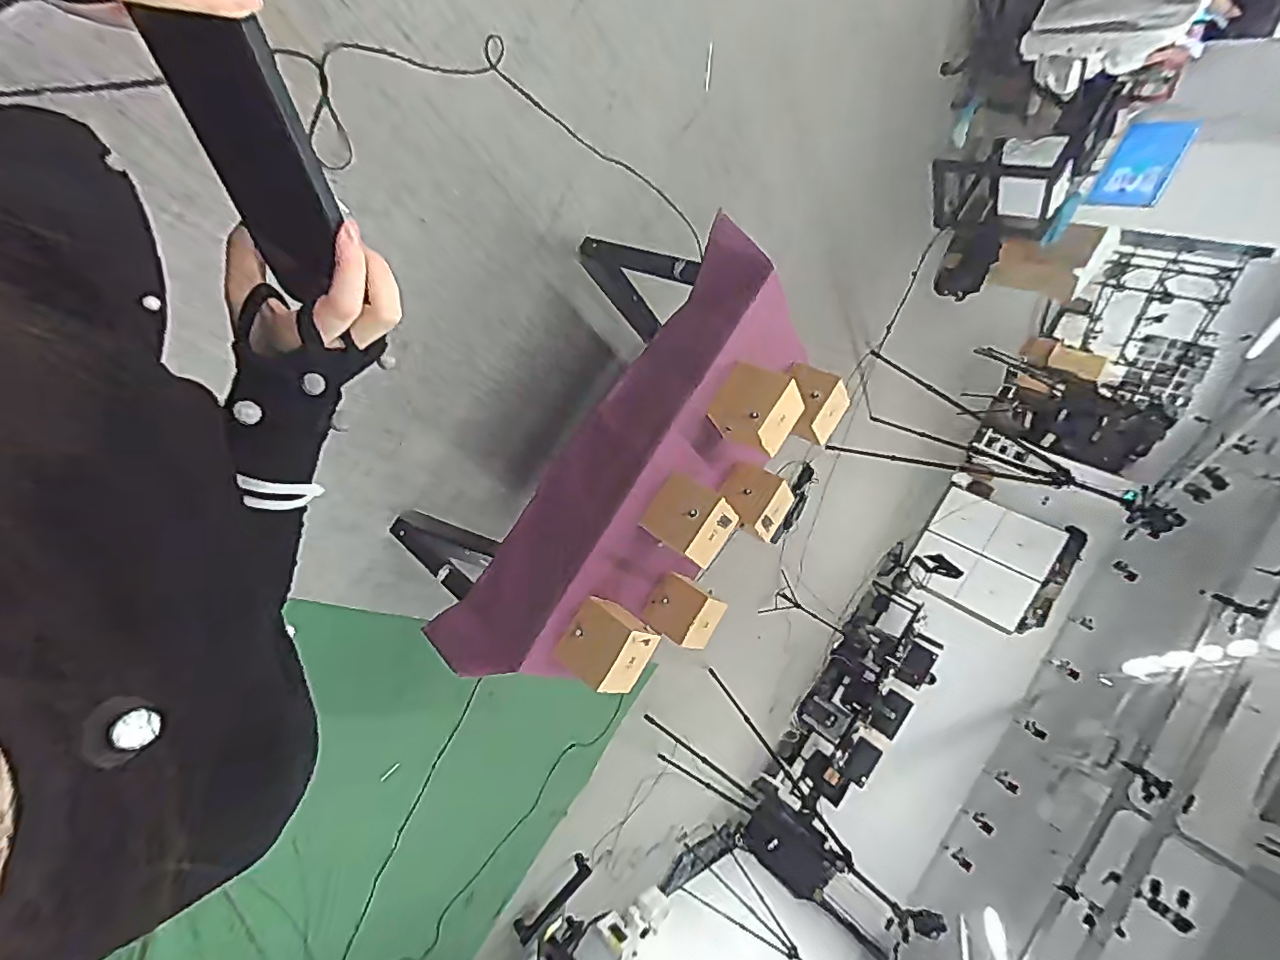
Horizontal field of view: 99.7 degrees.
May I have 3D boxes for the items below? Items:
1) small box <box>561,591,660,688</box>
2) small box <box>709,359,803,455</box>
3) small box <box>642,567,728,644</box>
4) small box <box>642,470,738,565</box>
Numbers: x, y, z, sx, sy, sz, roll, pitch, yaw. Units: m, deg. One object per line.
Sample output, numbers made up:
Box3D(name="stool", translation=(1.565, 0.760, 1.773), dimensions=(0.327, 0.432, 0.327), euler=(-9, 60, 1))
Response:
Box3D(name="small box", translation=(-0.084, 0.420, 1.425), dimensions=(0.179, 0.176, 0.168), euler=(-58, 146, -3))
Box3D(name="small box", translation=(0.316, -0.203, 1.476), dimensions=(0.179, 0.176, 0.168), euler=(-56, 146, -4))
Box3D(name="small box", translation=(0.140, 0.391, 1.687), dimensions=(0.168, 0.176, 0.179), euler=(-59, 145, -2))
Box3D(name="small box", translation=(0.134, 0.099, 1.467), dimensions=(0.179, 0.176, 0.168), euler=(-55, 145, -6))
